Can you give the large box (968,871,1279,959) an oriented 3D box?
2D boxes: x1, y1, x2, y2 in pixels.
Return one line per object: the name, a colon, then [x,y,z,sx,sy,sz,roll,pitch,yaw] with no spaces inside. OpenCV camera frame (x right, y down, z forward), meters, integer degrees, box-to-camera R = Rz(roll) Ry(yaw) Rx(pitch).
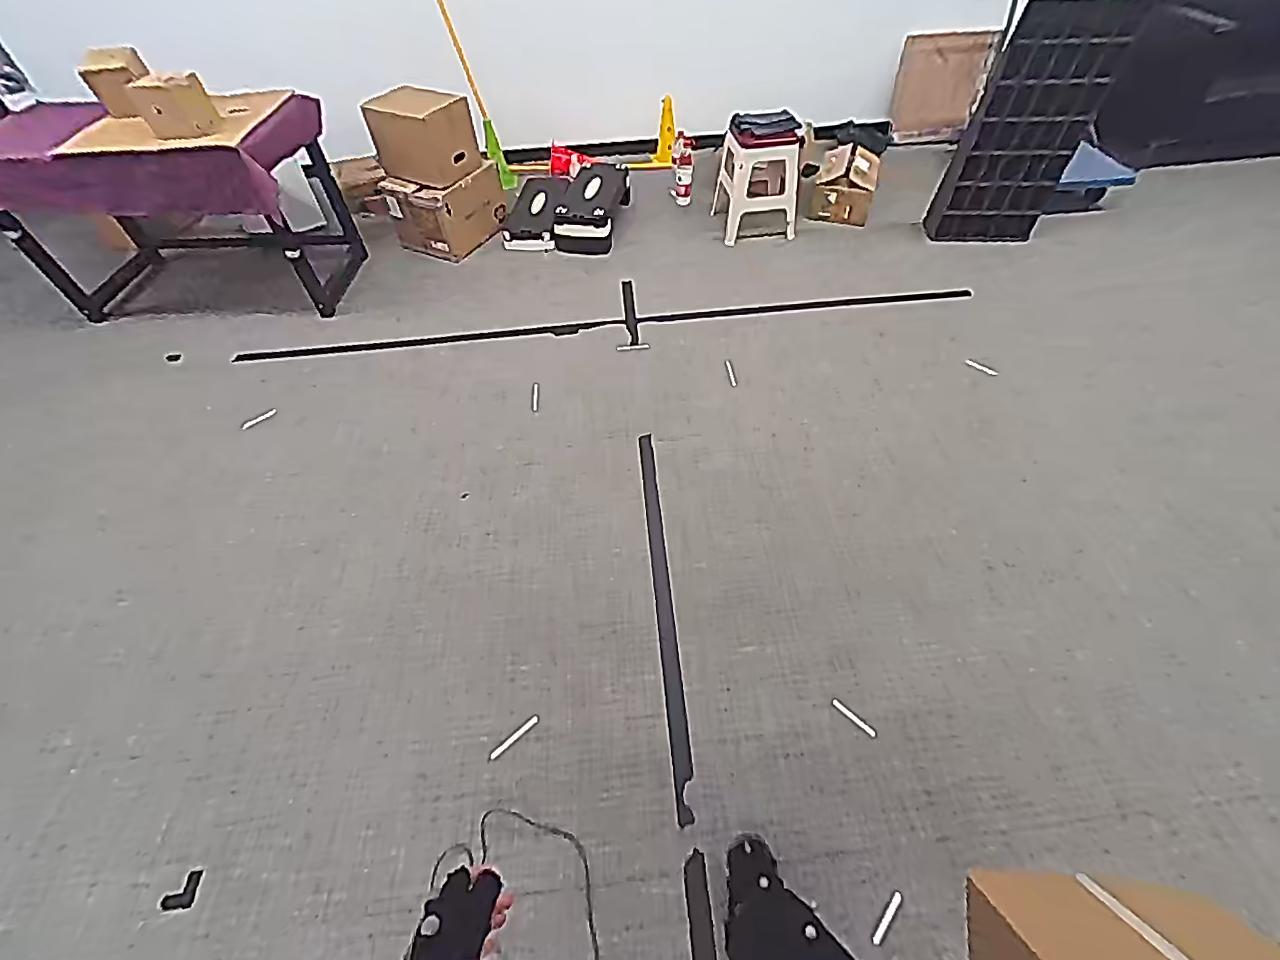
large box: [0.607,0.706,0.569,0.320,0.408,0.320,1,83,5]
